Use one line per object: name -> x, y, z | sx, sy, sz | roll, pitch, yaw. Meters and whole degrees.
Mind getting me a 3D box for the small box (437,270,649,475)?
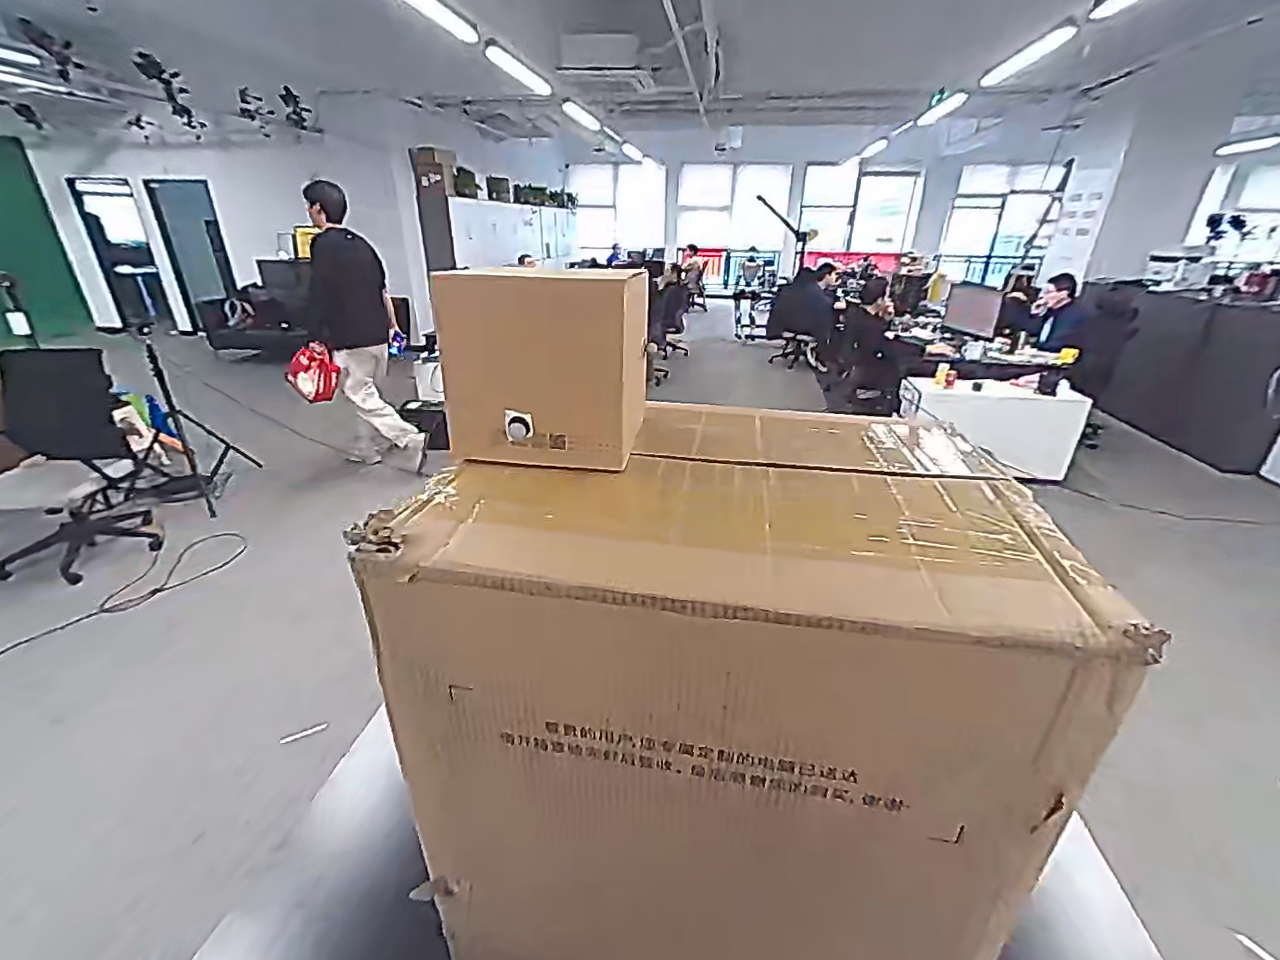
small box -> -0.082, -0.117, 0.547 | 0.168, 0.176, 0.179 | 2, 24, 5
